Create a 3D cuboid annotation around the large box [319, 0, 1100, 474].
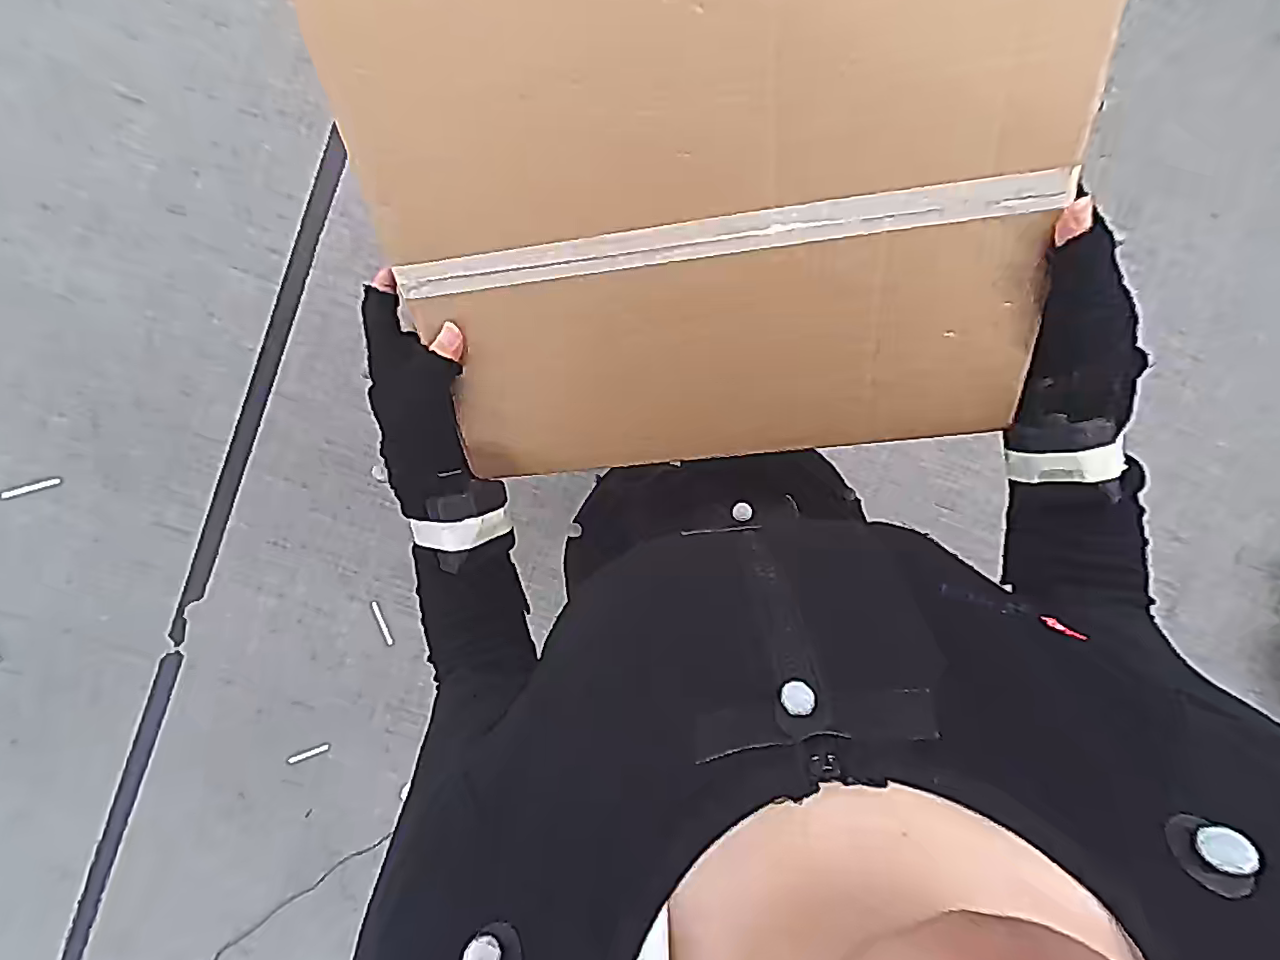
[{"bbox_3d":[0.050,-0.233,0.464,0.408,0.320,0.320,-5,125,6],"label":"large box"}]
